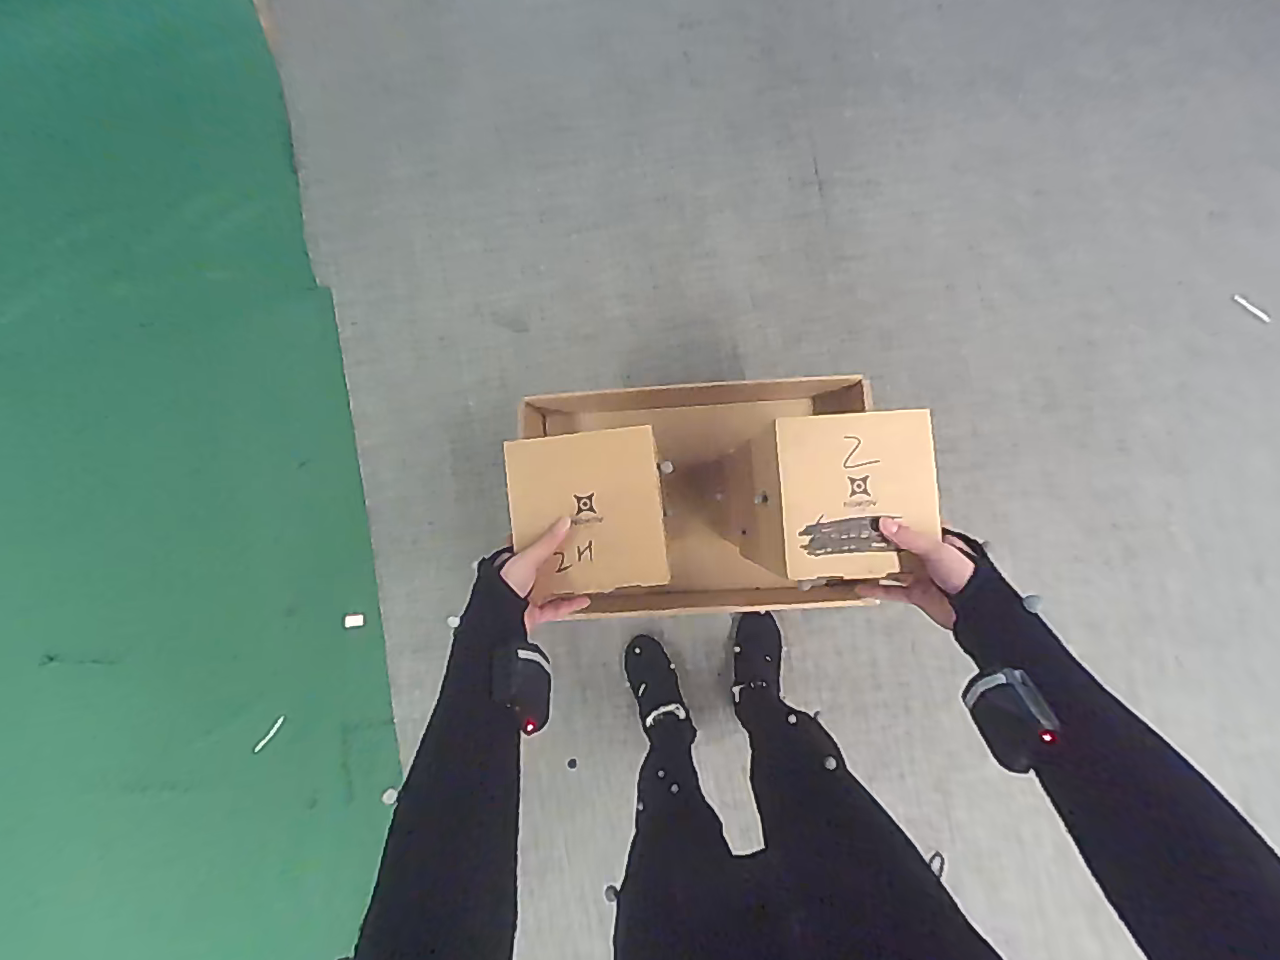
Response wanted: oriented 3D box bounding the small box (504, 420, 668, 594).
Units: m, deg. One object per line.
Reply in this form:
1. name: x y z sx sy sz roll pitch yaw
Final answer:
1. small box: -0.057 0.034 0.655 0.168 0.176 0.179 -6 87 3

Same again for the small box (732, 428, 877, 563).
1. small box: 0.232 0.025 0.802 0.168 0.176 0.179 -4 86 2
